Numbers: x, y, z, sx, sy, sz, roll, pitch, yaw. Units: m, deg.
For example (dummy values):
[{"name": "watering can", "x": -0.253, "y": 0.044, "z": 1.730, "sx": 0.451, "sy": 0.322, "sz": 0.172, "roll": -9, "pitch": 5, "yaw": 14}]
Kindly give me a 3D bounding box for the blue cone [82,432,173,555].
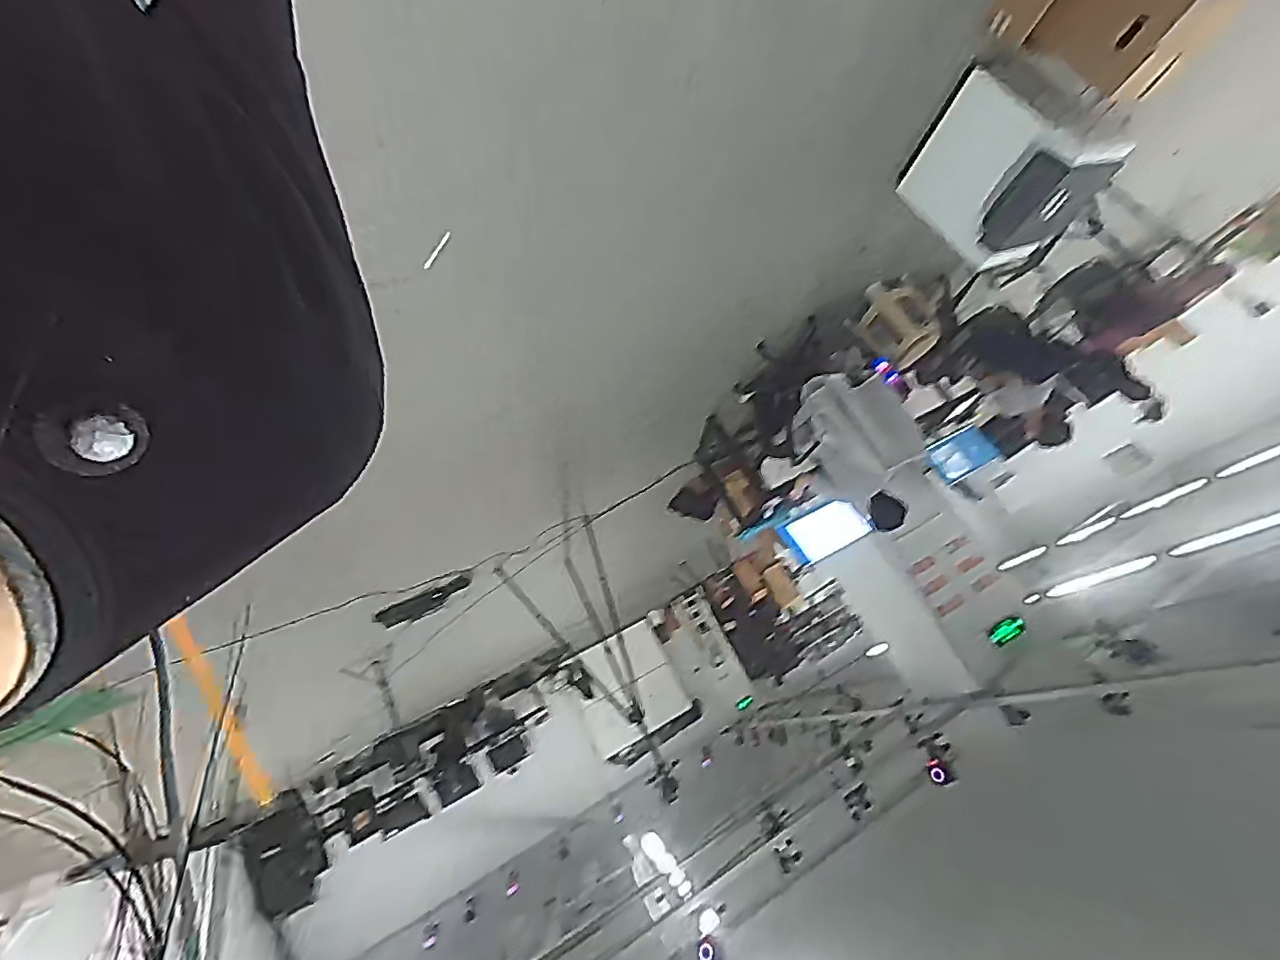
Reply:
[{"name": "blue cone", "x": -1.484, "y": 0.049, "z": 1.604, "sx": 0.192, "sy": 0.380, "sz": 0.193, "roll": -42, "pitch": 159, "yaw": 25}]
